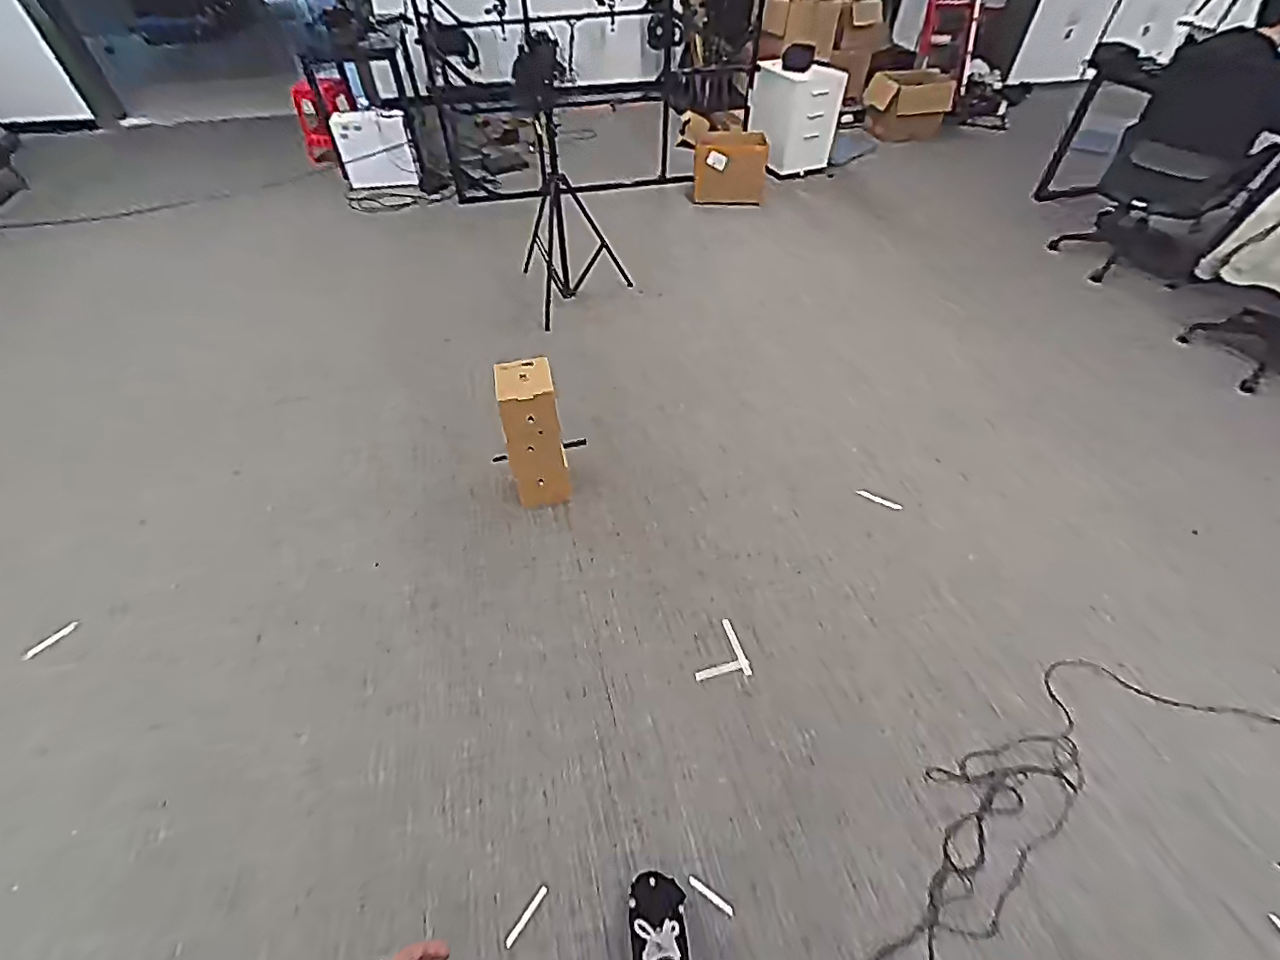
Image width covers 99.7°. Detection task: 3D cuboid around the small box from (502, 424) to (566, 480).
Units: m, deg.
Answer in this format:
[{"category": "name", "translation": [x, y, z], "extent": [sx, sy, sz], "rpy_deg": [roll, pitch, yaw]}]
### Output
[{"category": "small box", "translation": [-0.347, -0.119, 1.766], "extent": [0.179, 0.176, 0.168], "rpy_deg": [-9, 50, -8]}]

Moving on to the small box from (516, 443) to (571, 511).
[{"category": "small box", "translation": [-0.340, -0.014, 1.893], "extent": [0.179, 0.176, 0.168], "rpy_deg": [-11, 49, -9]}]

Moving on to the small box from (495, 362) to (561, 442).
[{"category": "small box", "translation": [-0.340, -0.232, 1.647], "extent": [0.168, 0.176, 0.179], "rpy_deg": [-10, 50, -8]}]
